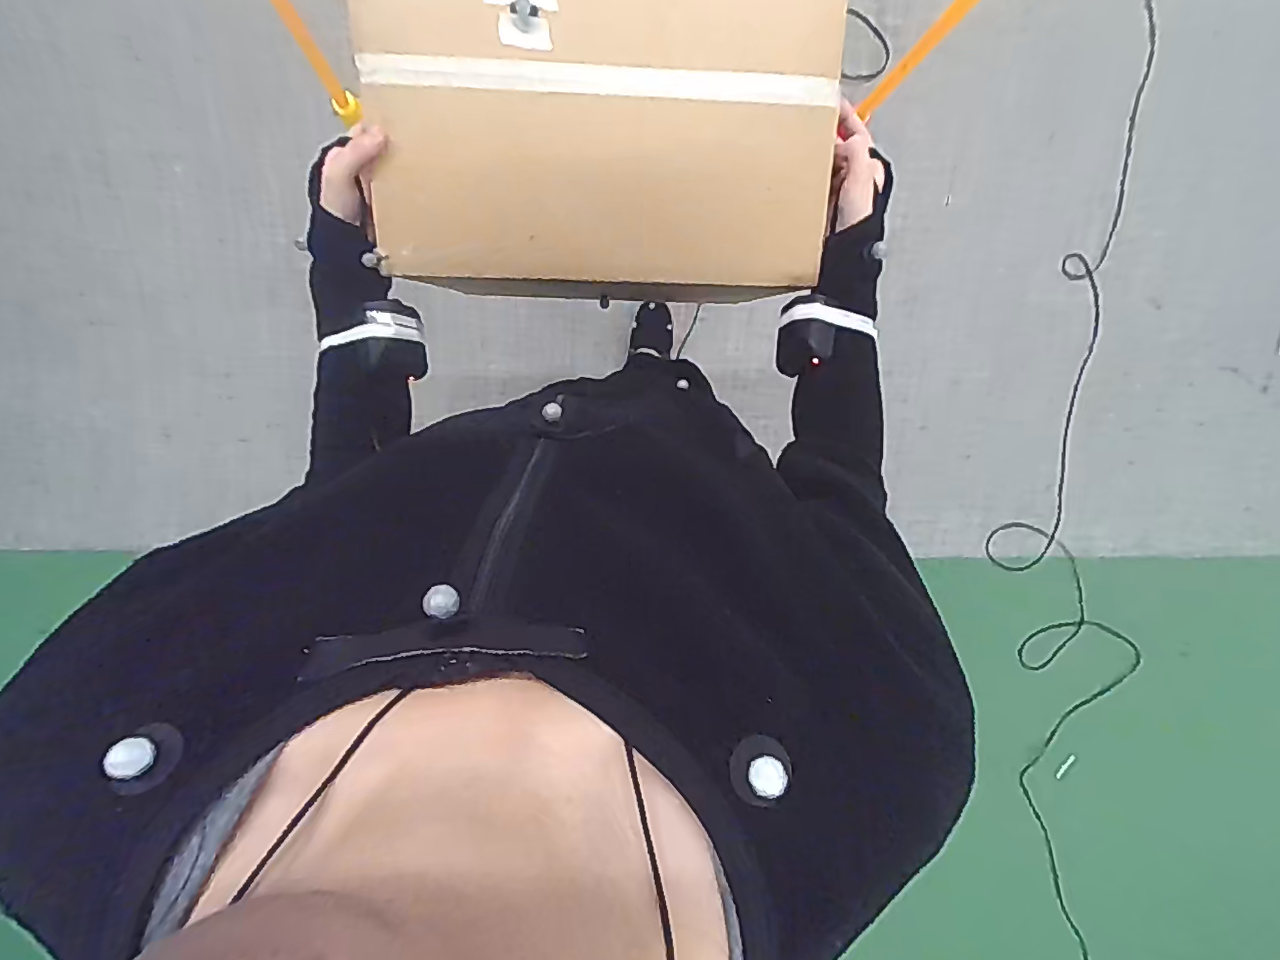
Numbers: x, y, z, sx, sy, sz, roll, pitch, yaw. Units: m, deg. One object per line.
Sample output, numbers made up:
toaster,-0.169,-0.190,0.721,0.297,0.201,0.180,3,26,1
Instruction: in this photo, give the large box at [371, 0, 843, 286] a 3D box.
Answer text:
large box,-0.031,-0.389,0.610,0.408,0.320,0.320,0,105,-3
